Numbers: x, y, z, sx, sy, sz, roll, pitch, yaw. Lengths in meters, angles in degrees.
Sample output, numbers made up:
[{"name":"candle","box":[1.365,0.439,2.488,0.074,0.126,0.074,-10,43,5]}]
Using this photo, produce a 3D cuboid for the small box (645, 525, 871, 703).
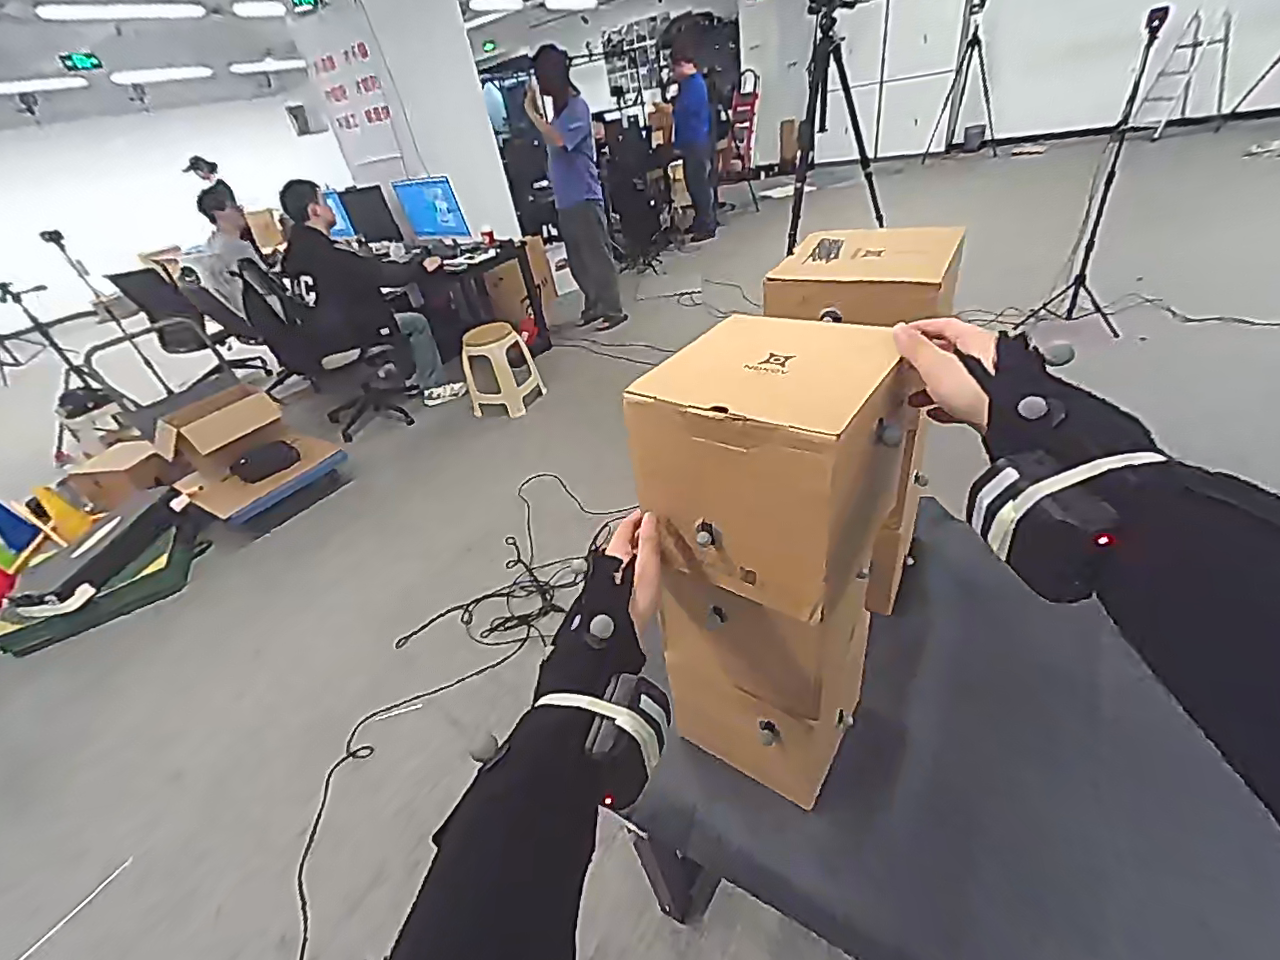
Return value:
[{"name":"small box","box":[0.129,0.096,0.562,0.179,0.176,0.168,13,41,31]}]

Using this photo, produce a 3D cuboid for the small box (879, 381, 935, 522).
[{"name":"small box","box":[0.288,-0.065,0.742,0.179,0.176,0.168,13,45,28]}]

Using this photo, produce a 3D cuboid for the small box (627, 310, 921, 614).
[{"name":"small box","box":[0.112,-0.026,0.453,0.168,0.176,0.179,18,43,34]}]

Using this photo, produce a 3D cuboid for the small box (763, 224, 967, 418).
[{"name":"small box","box":[0.258,-0.187,0.636,0.179,0.176,0.168,15,45,30]}]

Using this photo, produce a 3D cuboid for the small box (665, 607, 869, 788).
[{"name":"small box","box":[0.154,0.231,0.650,0.179,0.176,0.168,17,42,33]}]
